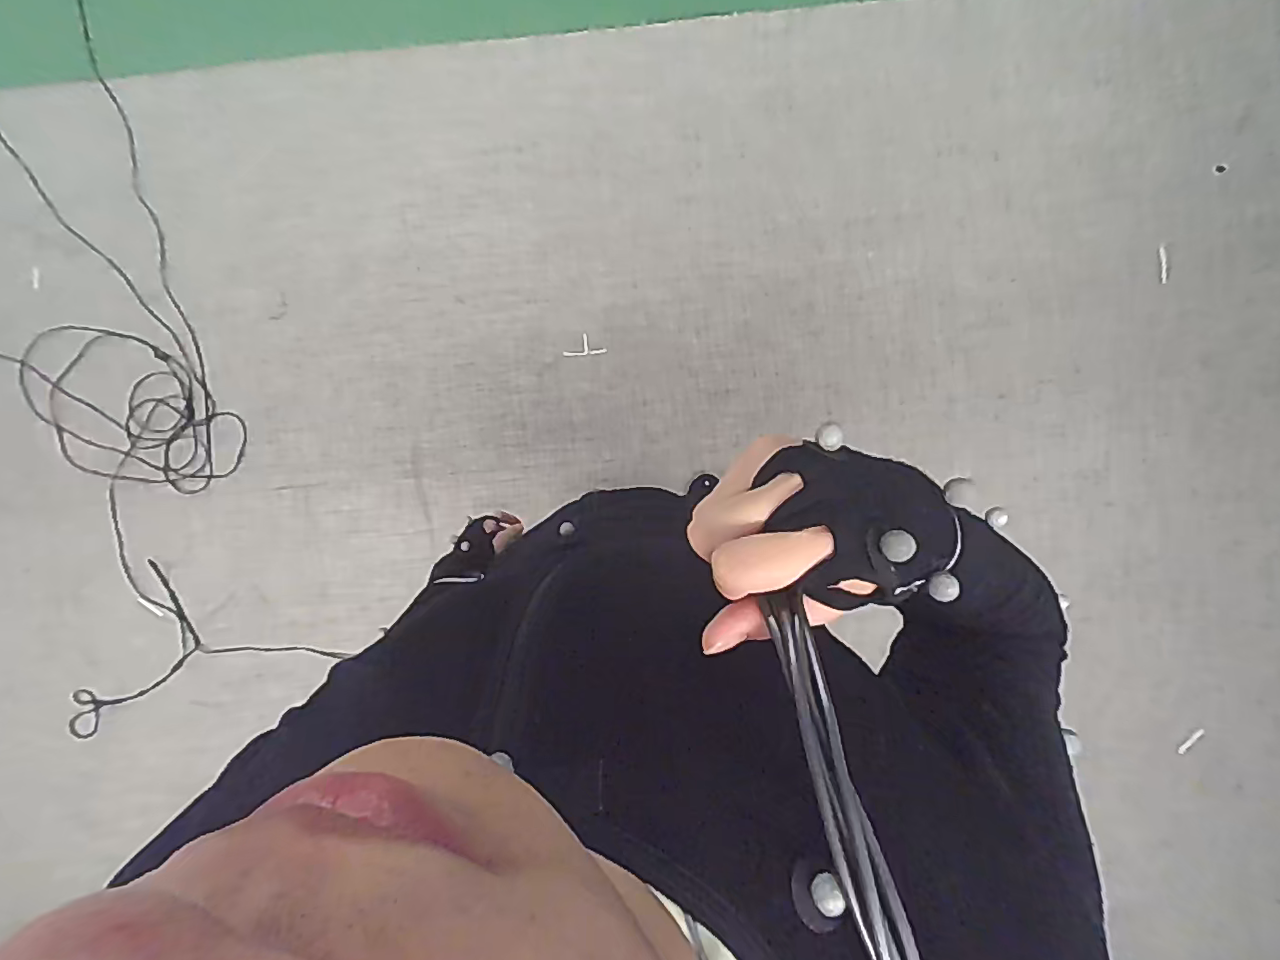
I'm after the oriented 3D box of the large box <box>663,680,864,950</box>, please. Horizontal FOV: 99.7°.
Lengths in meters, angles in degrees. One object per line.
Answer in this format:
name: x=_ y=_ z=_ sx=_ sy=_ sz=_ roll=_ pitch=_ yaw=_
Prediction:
large box: x=0.271 y=0.771 z=1.307 sx=0.320 sy=0.320 sz=0.408 roll=-19 pitch=90 yaw=0
